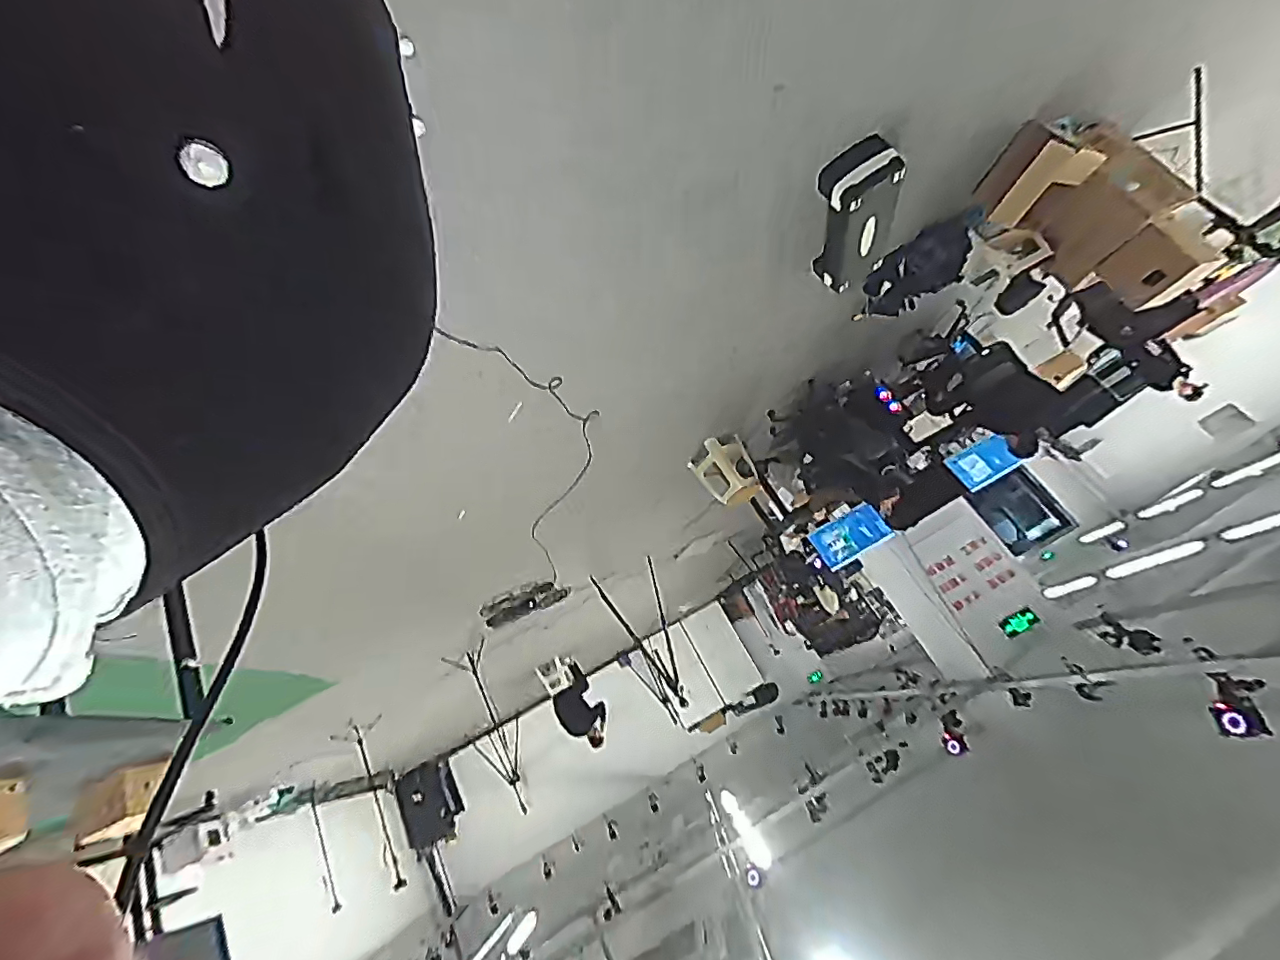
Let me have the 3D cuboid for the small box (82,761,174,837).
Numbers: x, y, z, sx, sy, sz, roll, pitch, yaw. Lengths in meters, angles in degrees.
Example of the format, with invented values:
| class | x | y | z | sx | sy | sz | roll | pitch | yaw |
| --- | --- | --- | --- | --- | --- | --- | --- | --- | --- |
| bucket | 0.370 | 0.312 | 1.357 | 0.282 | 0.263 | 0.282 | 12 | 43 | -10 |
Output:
| class | x | y | z | sx | sy | sz | roll | pitch | yaw |
| --- | --- | --- | --- | --- | --- | --- | --- | --- | --- |
| small box | -1.827 | 1.122 | 1.925 | 0.179 | 0.176 | 0.168 | -29 | 157 | -7 |

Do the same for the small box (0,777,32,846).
| class | x | y | z | sx | sy | sz | roll | pitch | yaw |
| --- | --- | --- | --- | --- | --- | --- | --- | --- | --- |
| small box | -1.857 | 0.941 | 1.488 | 0.179 | 0.176 | 0.168 | -27 | 158 | -8 |
